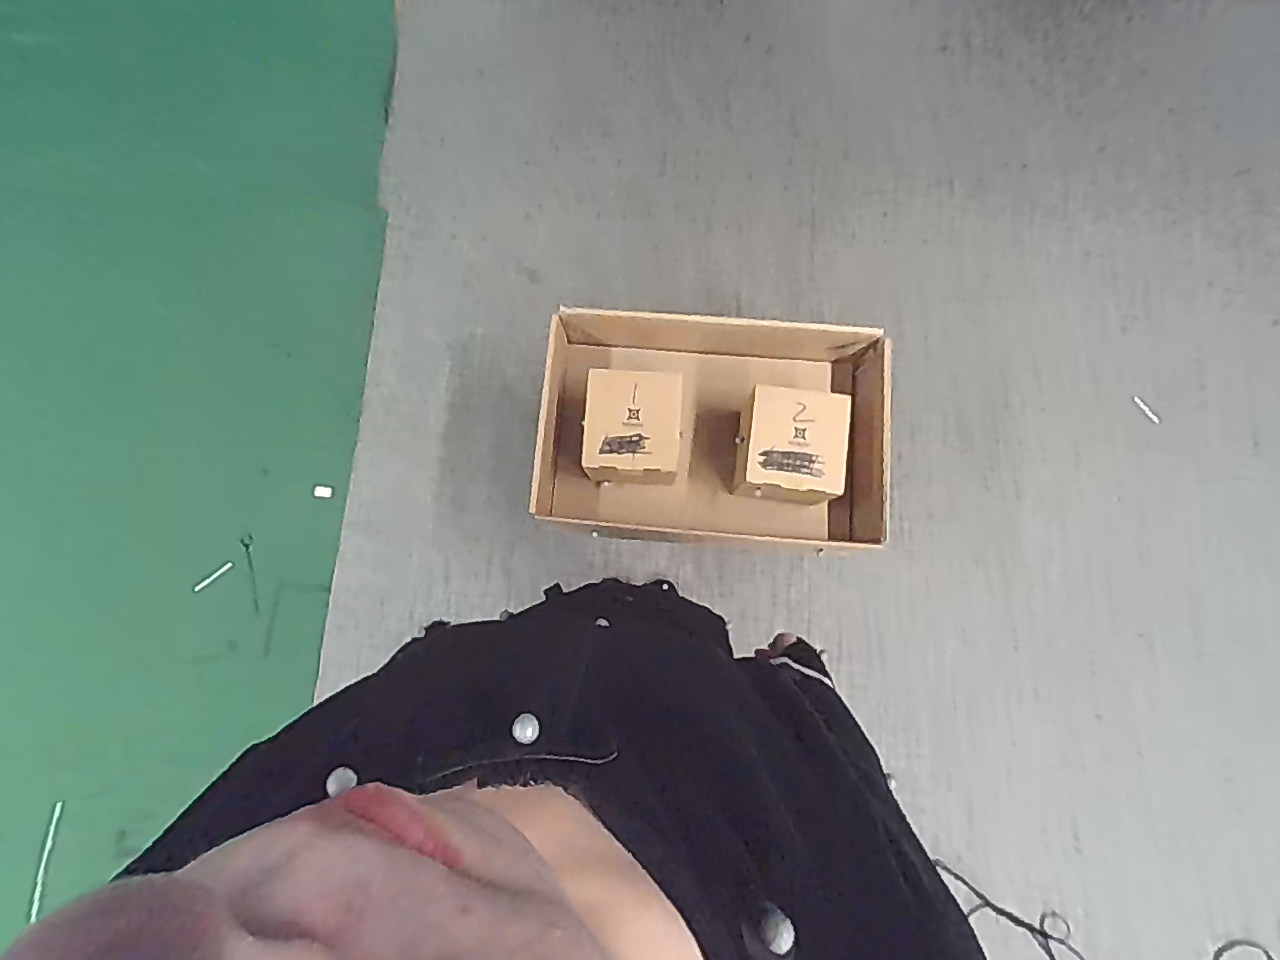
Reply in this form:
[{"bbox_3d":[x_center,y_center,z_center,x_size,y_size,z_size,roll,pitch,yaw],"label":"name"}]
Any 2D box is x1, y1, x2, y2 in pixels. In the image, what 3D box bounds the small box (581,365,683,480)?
[{"bbox_3d":[-0.010,-0.098,1.000,0.168,0.176,0.179,3,81,2],"label":"small box"}]
